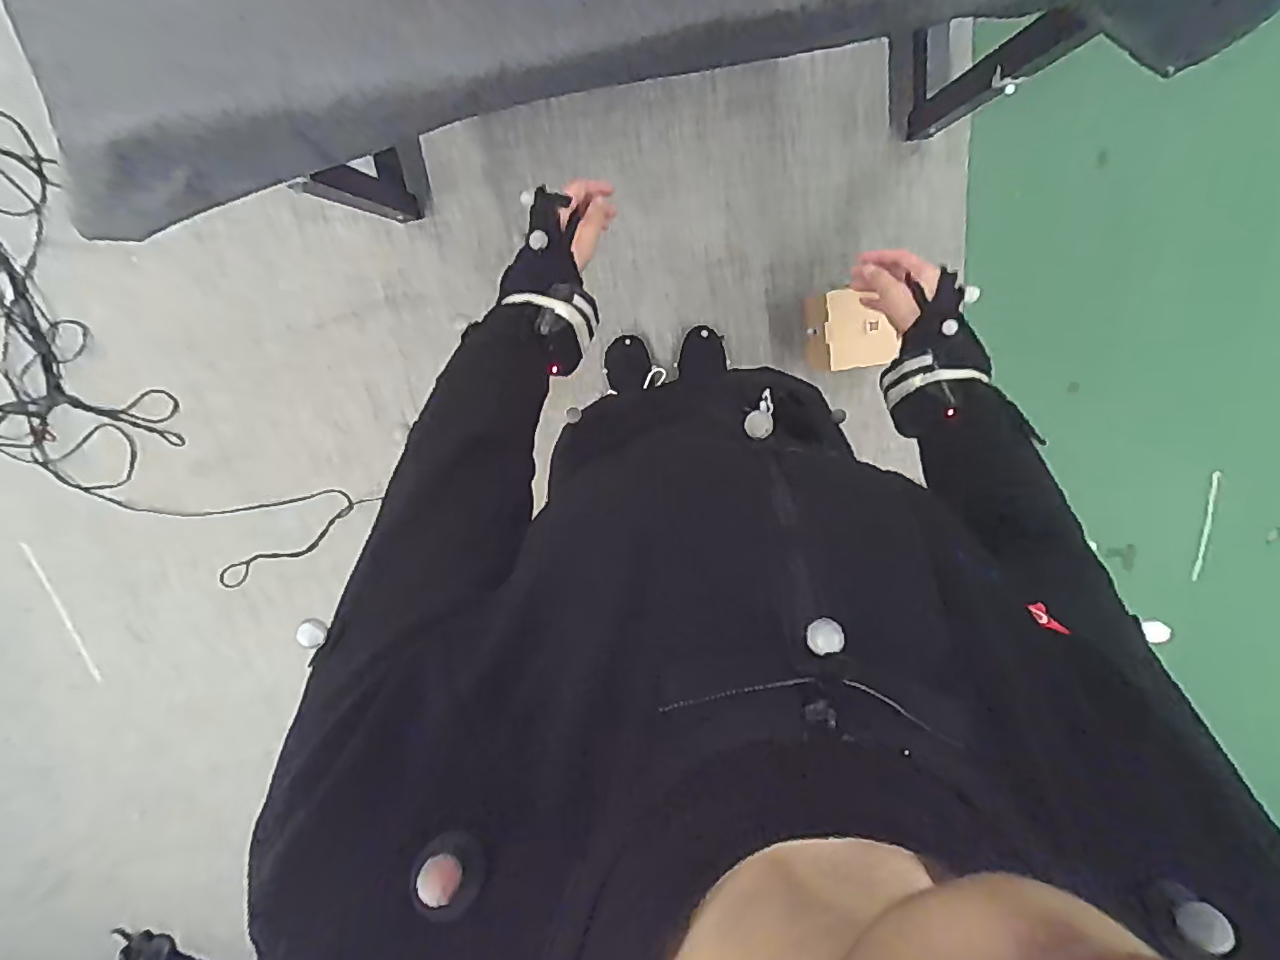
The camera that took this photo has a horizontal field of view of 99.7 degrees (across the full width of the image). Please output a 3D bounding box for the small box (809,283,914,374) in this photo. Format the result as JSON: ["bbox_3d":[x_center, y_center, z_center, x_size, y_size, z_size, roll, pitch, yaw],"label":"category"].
[{"bbox_3d":[0.480,-0.332,1.196,0.179,0.176,0.168,-8,106,4],"label":"small box"}]
